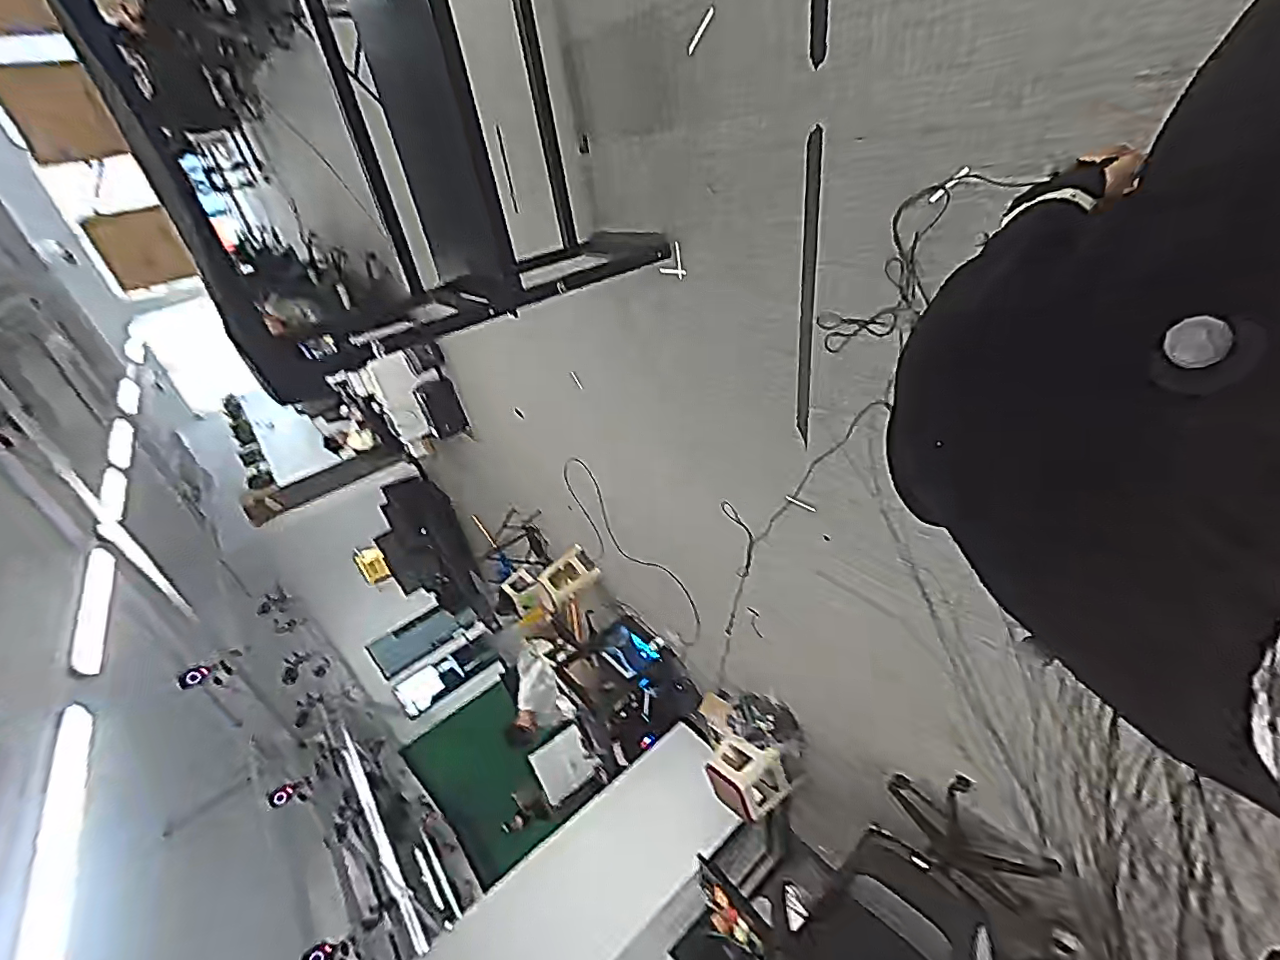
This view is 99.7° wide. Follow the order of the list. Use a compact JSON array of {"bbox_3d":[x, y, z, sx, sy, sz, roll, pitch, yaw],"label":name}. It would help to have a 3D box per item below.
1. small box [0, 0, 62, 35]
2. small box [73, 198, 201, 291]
[{"bbox_3d":[-1.256,-0.959,1.023,0.179,0.176,0.168,31,142,43],"label":"small box"},{"bbox_3d":[-1.200,-0.573,1.304,0.179,0.176,0.168,33,142,43],"label":"small box"}]
